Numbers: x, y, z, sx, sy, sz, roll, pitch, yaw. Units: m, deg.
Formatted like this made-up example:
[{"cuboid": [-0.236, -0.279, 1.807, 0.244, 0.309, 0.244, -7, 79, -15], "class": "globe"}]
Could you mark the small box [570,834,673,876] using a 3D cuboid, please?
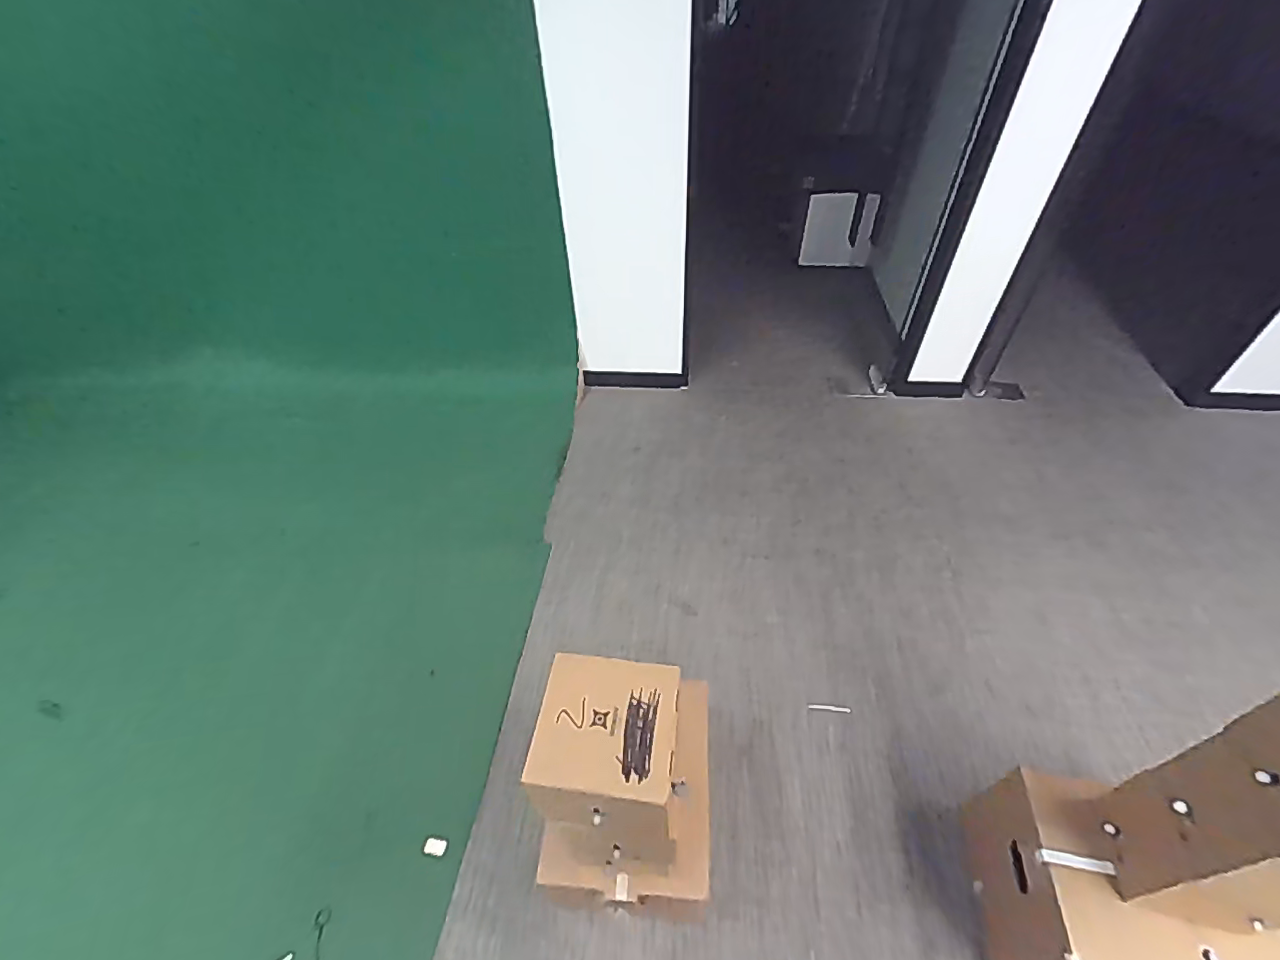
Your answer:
[{"cuboid": [-0.018, 0.585, 0.969, 0.168, 0.176, 0.179, 4, 45, 7], "class": "small box"}]

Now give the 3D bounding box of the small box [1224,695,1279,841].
[{"cuboid": [0.910, 0.380, 0.669, 0.168, 0.176, 0.179, 10, 45, 12], "class": "small box"}]

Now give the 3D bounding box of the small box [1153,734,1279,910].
[{"cuboid": [0.915, 0.501, 0.780, 0.179, 0.176, 0.168, 10, 45, 13], "class": "small box"}]

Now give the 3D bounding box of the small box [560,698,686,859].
[{"cuboid": [-0.016, 0.471, 0.850, 0.168, 0.176, 0.179, 4, 45, 6], "class": "small box"}]

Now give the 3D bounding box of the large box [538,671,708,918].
[{"cuboid": [-0.013, 0.693, 1.204, 0.320, 0.320, 0.408, 3, 45, 5], "class": "large box"}]

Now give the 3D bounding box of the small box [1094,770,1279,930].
[{"cuboid": [0.918, 0.616, 0.897, 0.179, 0.176, 0.168, 10, 45, 12], "class": "small box"}]
